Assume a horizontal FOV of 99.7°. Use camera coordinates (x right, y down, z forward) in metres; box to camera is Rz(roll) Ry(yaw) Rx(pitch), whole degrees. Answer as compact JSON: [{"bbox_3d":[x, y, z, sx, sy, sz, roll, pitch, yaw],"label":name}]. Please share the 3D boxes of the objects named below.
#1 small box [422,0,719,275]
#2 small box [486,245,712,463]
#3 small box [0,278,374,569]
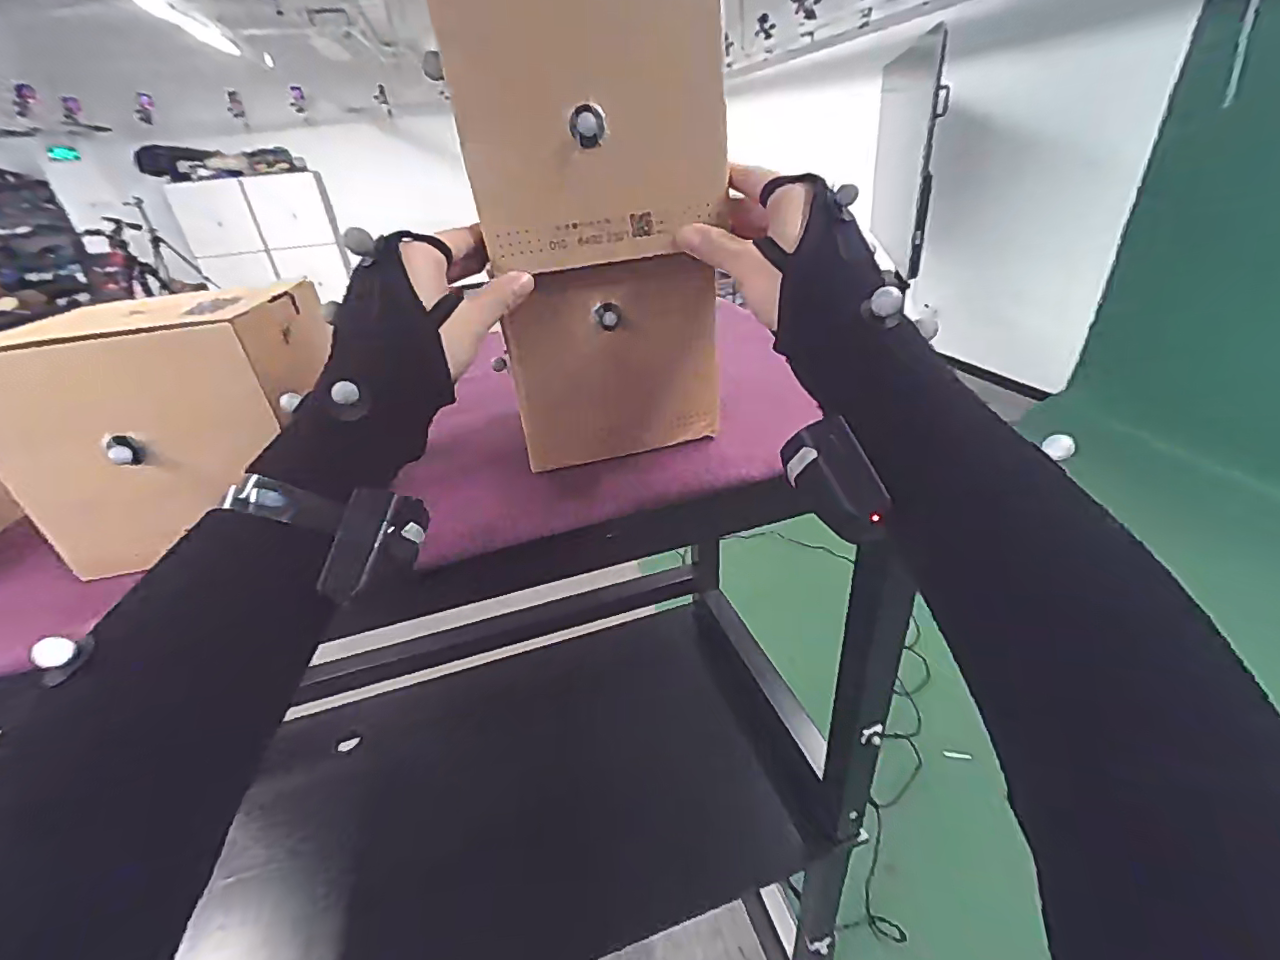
[{"bbox_3d":[-0.040,-0.260,0.408,0.168,0.176,0.179,-9,30,-2],"label":"small box"},{"bbox_3d":[-0.039,-0.131,0.519,0.179,0.176,0.168,-12,31,-9],"label":"small box"},{"bbox_3d":[-0.344,-0.053,0.441,0.179,0.176,0.168,-12,30,-7],"label":"small box"}]
